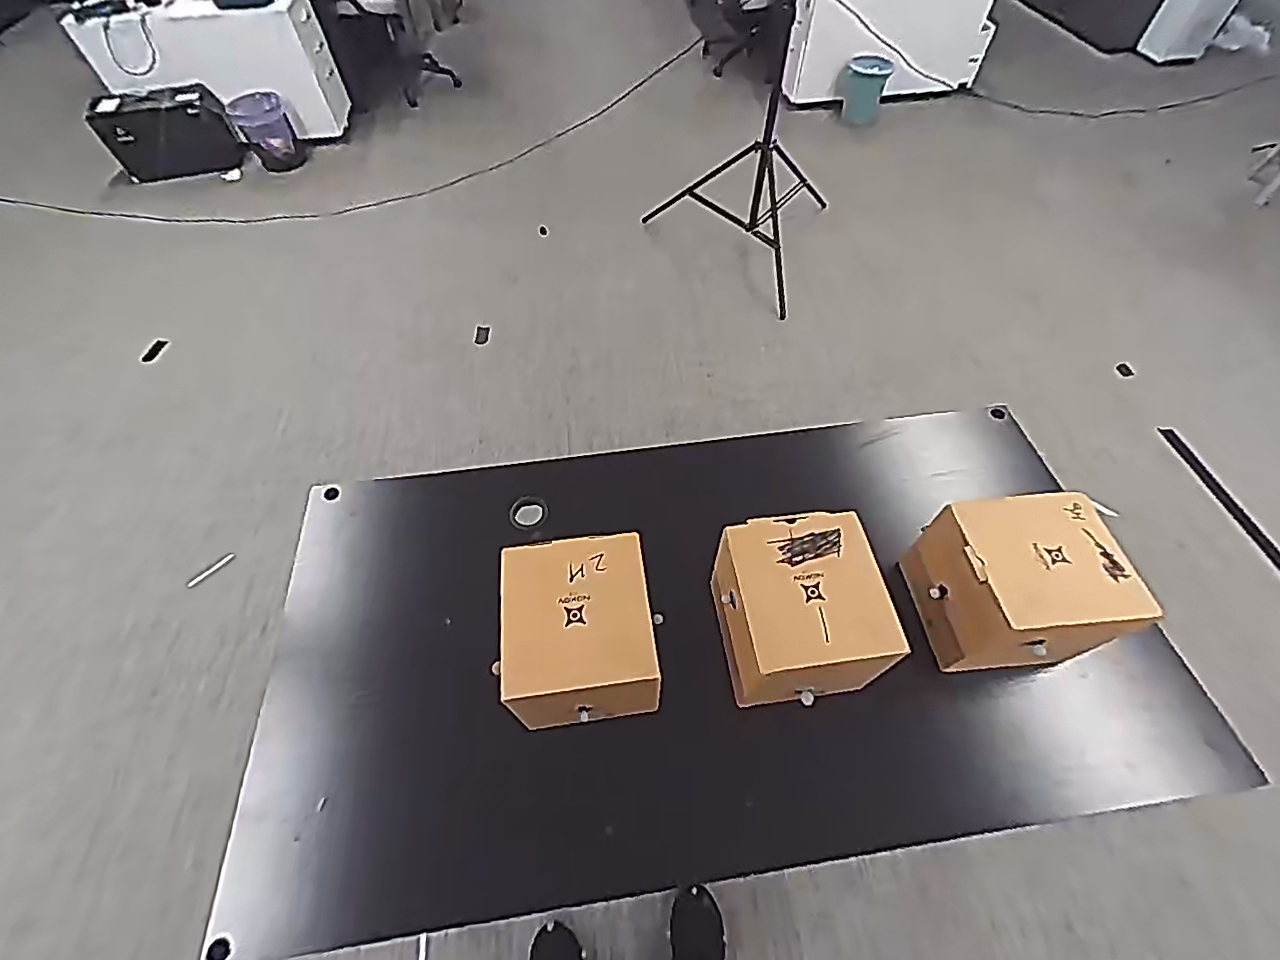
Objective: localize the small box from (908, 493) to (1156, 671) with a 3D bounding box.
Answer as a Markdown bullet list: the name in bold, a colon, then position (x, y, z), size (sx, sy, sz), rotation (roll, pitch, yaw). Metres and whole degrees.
- **small box**: position (0.472, 0.136, 0.695), size (0.179, 0.176, 0.168), rotation (-6, 56, -1)

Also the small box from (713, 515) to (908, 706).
- **small box**: position (0.193, 0.166, 0.678), size (0.168, 0.176, 0.179), rotation (-7, 57, -4)

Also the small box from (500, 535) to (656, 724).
- **small box**: position (-0.071, 0.190, 0.665), size (0.168, 0.176, 0.179), rotation (-6, 56, -4)
